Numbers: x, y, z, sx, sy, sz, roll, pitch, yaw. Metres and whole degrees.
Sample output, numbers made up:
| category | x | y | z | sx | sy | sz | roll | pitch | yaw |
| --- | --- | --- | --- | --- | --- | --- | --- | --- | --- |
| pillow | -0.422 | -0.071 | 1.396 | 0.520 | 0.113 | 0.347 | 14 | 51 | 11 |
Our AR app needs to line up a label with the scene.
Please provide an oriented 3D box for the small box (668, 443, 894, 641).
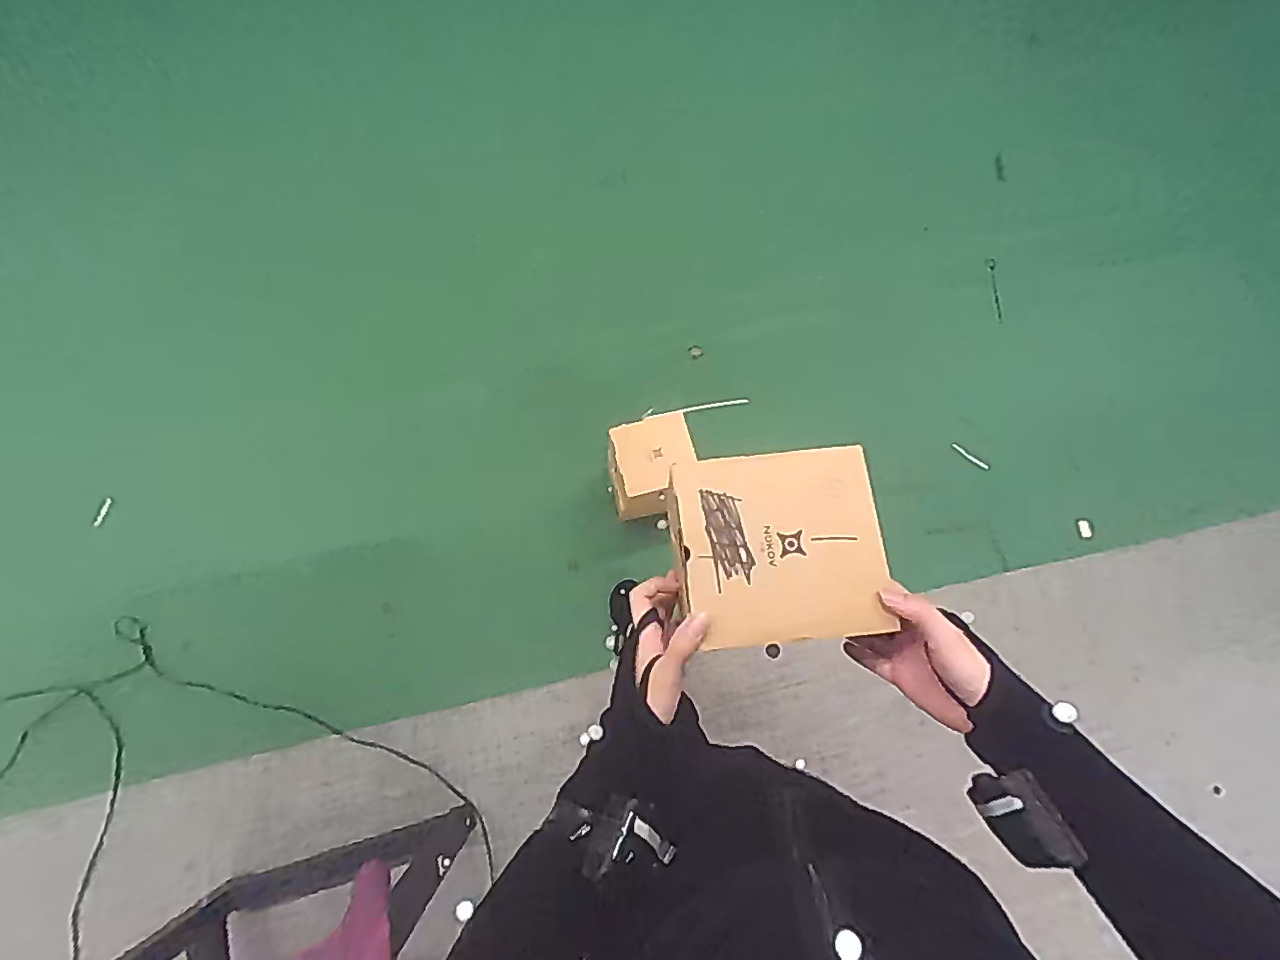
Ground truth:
| category | x | y | z | sx | sy | sz | roll | pitch | yaw |
| --- | --- | --- | --- | --- | --- | --- | --- | --- | --- |
| small box | 0.121 | 0.072 | 0.546 | 0.179 | 0.176 | 0.168 | -5 | 75 | -1 |

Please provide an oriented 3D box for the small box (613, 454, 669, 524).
| category | x | y | z | sx | sy | sz | roll | pitch | yaw |
| --- | --- | --- | --- | --- | --- | --- | --- | --- | --- |
| small box | 0.027 | 0.012 | 1.439 | 0.179 | 0.176 | 0.168 | -12 | 77 | -5 |

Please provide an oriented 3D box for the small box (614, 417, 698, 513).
| category | x | y | z | sx | sy | sz | roll | pitch | yaw |
| --- | --- | --- | --- | --- | --- | --- | --- | --- | --- |
| small box | 0.040 | -0.030 | 1.282 | 0.179 | 0.176 | 0.168 | -15 | 78 | -5 |
